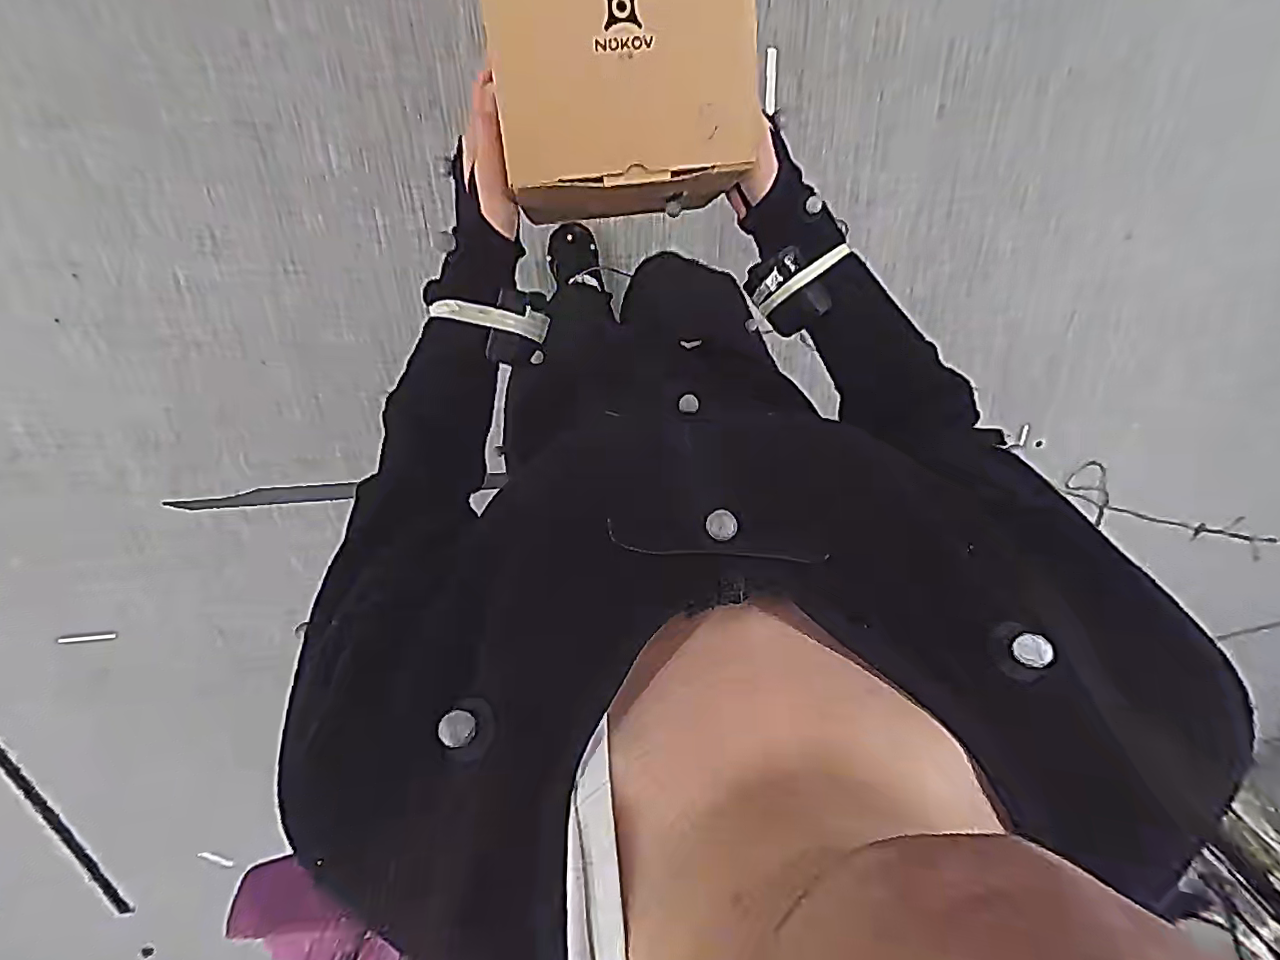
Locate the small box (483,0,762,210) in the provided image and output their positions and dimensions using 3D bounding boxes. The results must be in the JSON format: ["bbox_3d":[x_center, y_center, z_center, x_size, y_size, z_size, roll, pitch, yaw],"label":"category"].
[{"bbox_3d":[-0.017,-0.306,0.394,0.168,0.176,0.179,-8,109,-5],"label":"small box"}]
